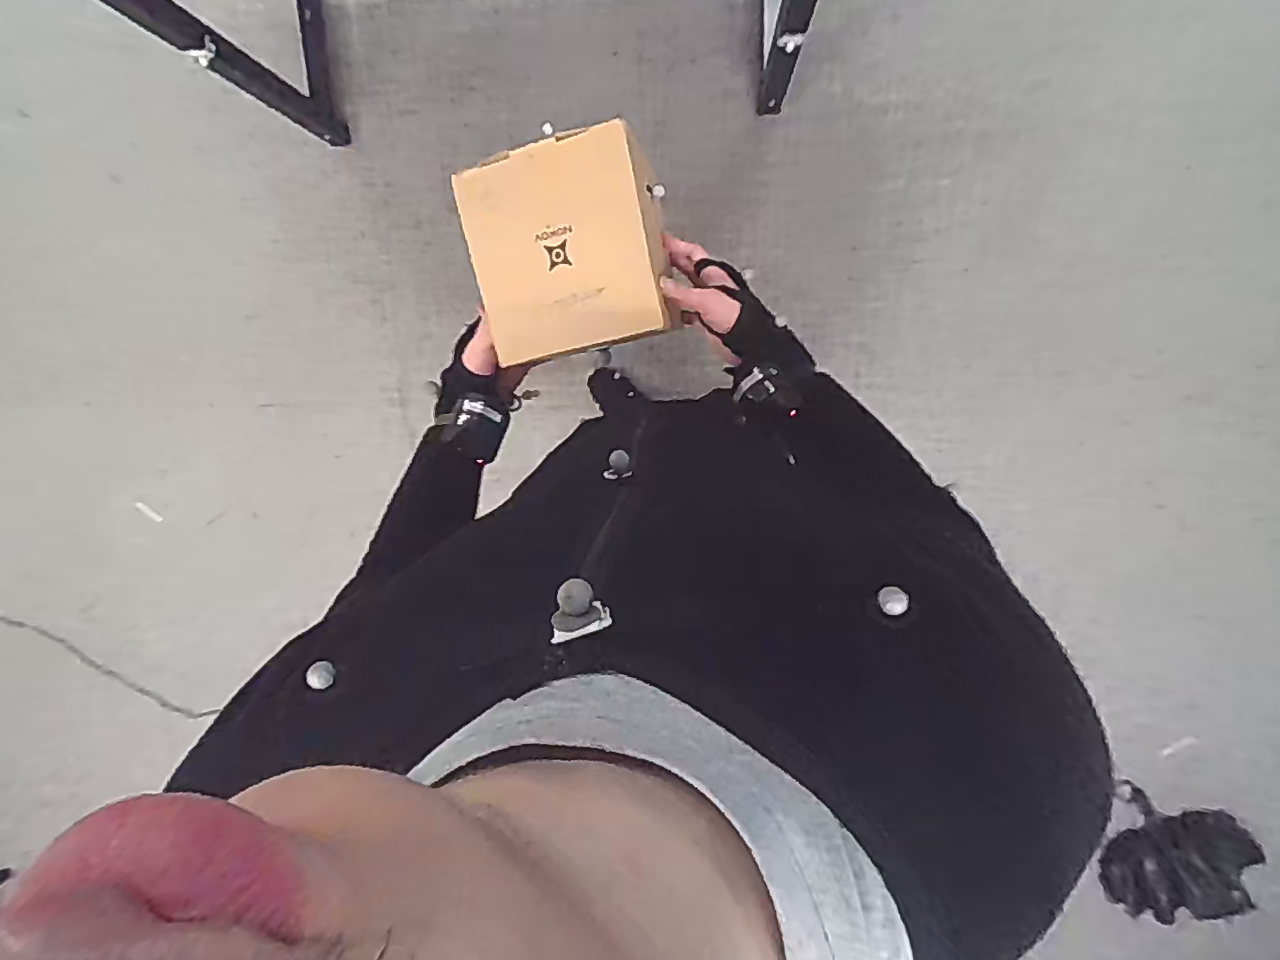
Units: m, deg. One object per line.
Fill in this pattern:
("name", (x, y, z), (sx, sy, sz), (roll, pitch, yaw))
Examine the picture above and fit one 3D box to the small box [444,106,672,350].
("small box", (-0.067, -0.236, 0.556), (0.168, 0.176, 0.179), (-8, 104, 13))
